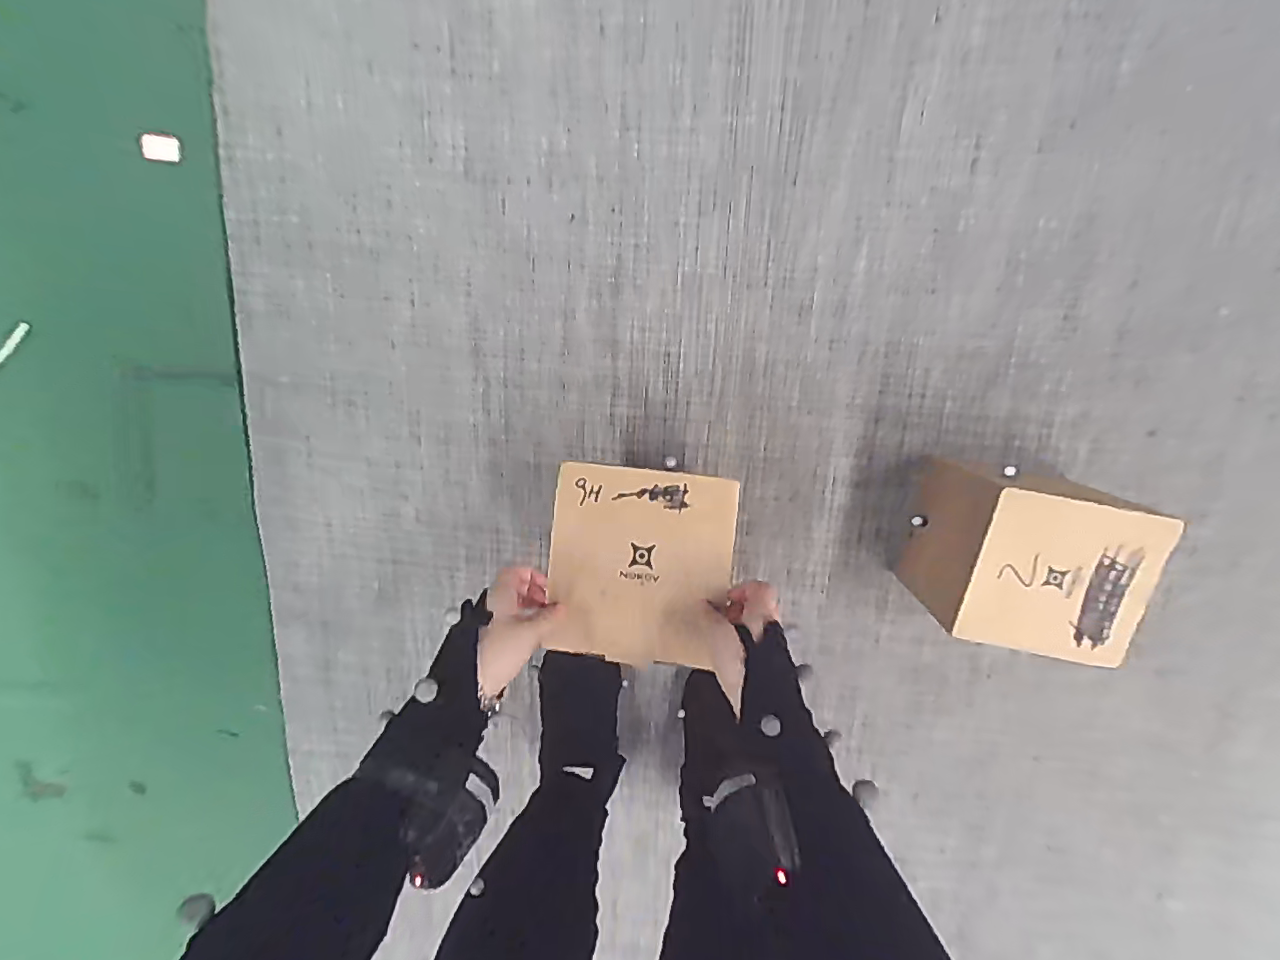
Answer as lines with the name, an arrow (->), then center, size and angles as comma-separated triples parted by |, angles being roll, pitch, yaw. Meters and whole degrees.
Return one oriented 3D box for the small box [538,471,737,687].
small box -> 0.001, 0.089, 0.568 | 0.168, 0.176, 0.179 | 7, 93, 2
